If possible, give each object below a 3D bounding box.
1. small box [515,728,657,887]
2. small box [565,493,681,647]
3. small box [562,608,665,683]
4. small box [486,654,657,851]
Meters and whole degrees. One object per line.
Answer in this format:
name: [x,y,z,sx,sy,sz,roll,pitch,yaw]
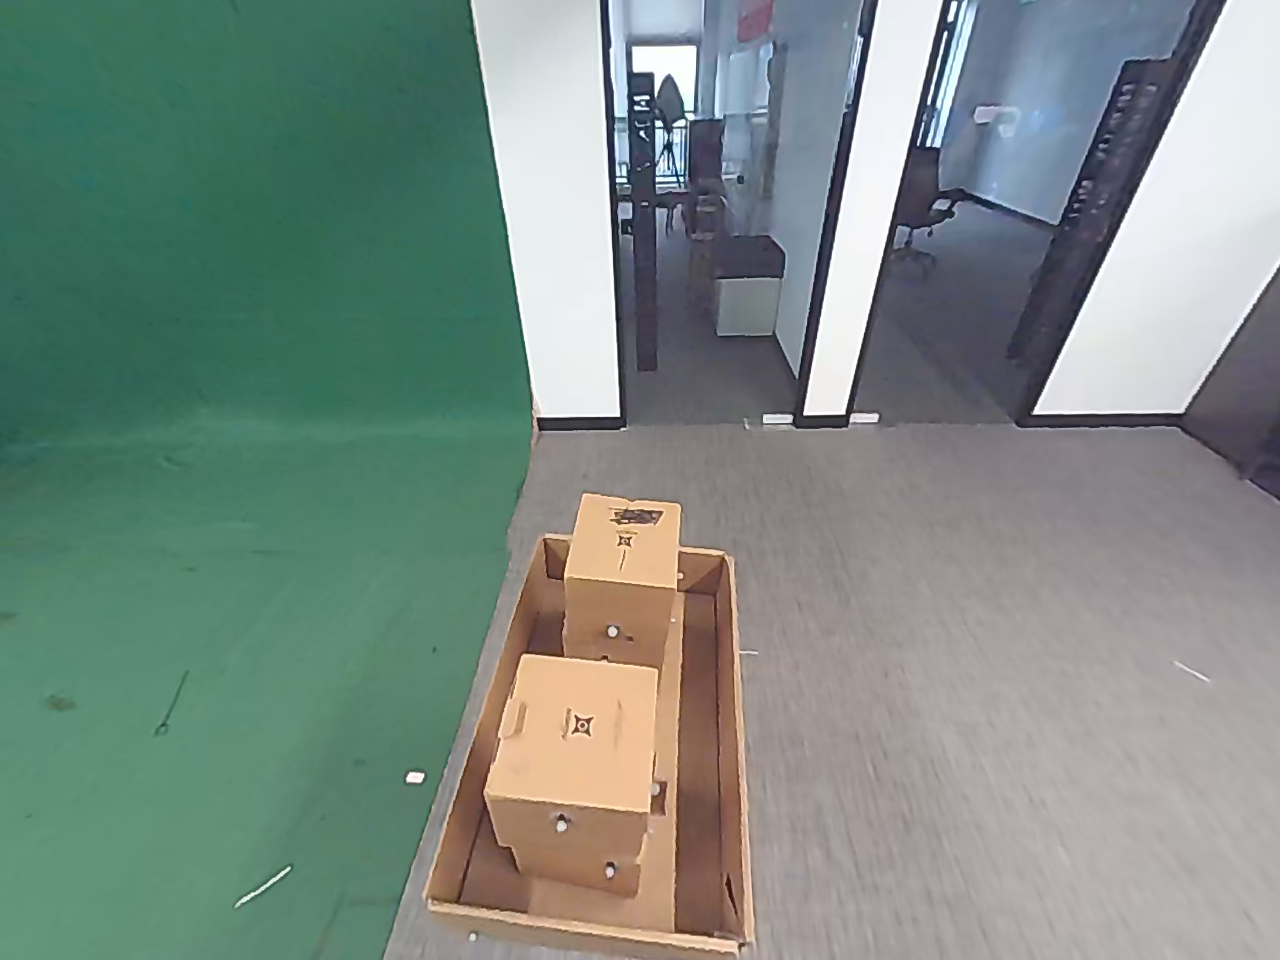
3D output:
small box: [-0.077,0.461,0.784,0.179,0.176,0.168,9,41,4]
small box: [-0.027,0.148,0.891,0.168,0.176,0.179,6,43,1]
small box: [-0.039,0.266,1.004,0.179,0.176,0.168,6,43,2]
small box: [-0.076,0.341,0.675,0.179,0.176,0.168,6,42,0]
